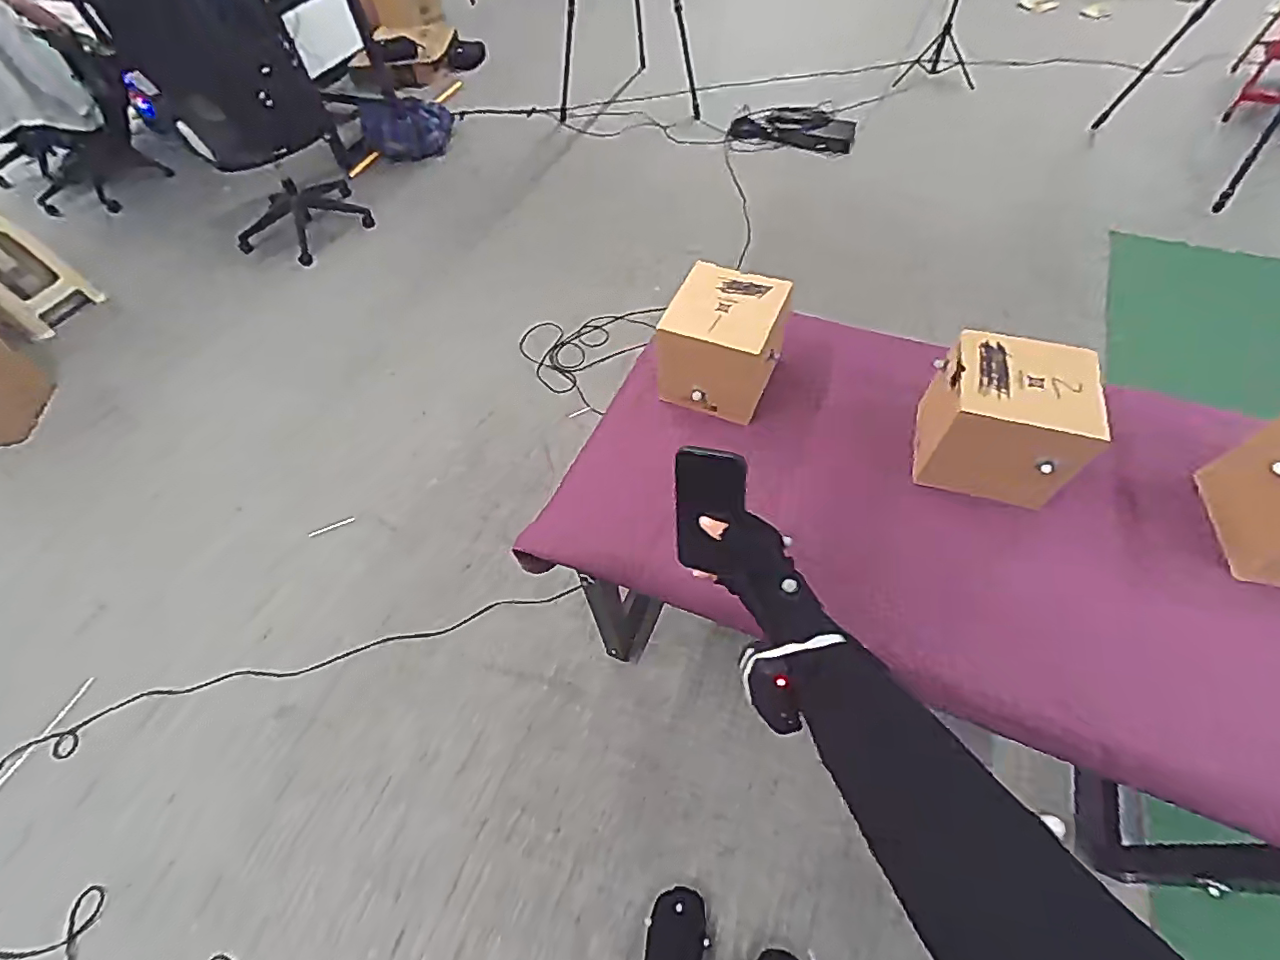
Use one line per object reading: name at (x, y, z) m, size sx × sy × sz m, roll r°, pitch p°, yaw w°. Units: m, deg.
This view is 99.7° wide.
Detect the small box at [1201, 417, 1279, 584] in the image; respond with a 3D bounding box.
small box at (0.878, 0.034, 0.675) m, size 0.168 × 0.176 × 0.179 m, roll 10°, pitch 57°, yaw 11°

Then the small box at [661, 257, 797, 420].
small box at (0.142, -0.233, 0.900) m, size 0.168 × 0.176 × 0.179 m, roll 20°, pitch 62°, yaw 16°
